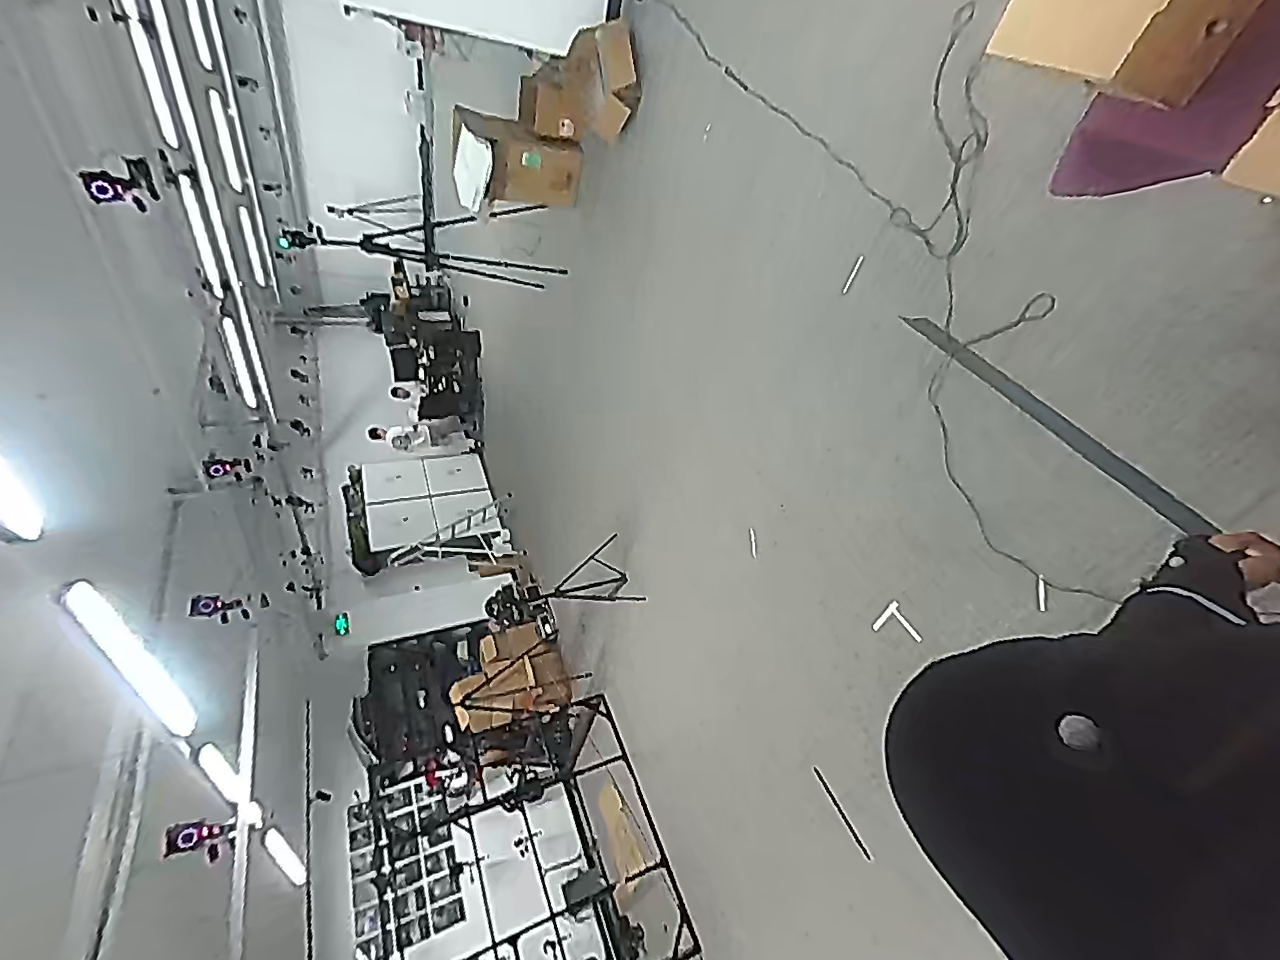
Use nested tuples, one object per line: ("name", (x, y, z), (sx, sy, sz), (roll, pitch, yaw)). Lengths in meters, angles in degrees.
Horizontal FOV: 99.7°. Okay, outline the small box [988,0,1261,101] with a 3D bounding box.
("small box", (0.561, -0.555, 0.612), (0.179, 0.176, 0.168), (58, 146, 38))
